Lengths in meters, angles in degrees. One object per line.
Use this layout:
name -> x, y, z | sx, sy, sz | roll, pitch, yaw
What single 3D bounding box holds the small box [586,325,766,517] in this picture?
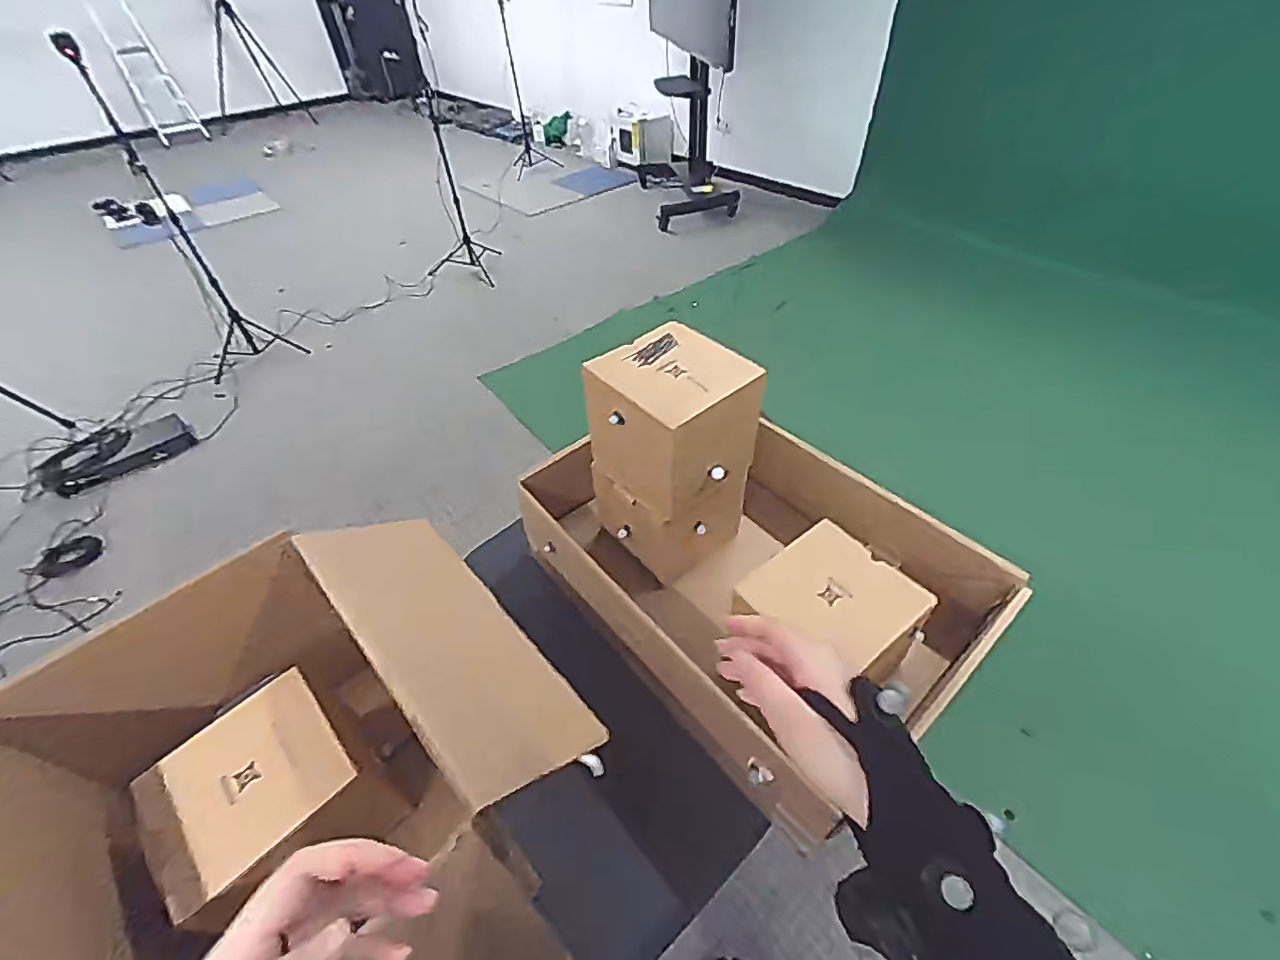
small box -> 0.045, -0.081, 0.748 | 0.168, 0.176, 0.179 | -33, 54, -25
